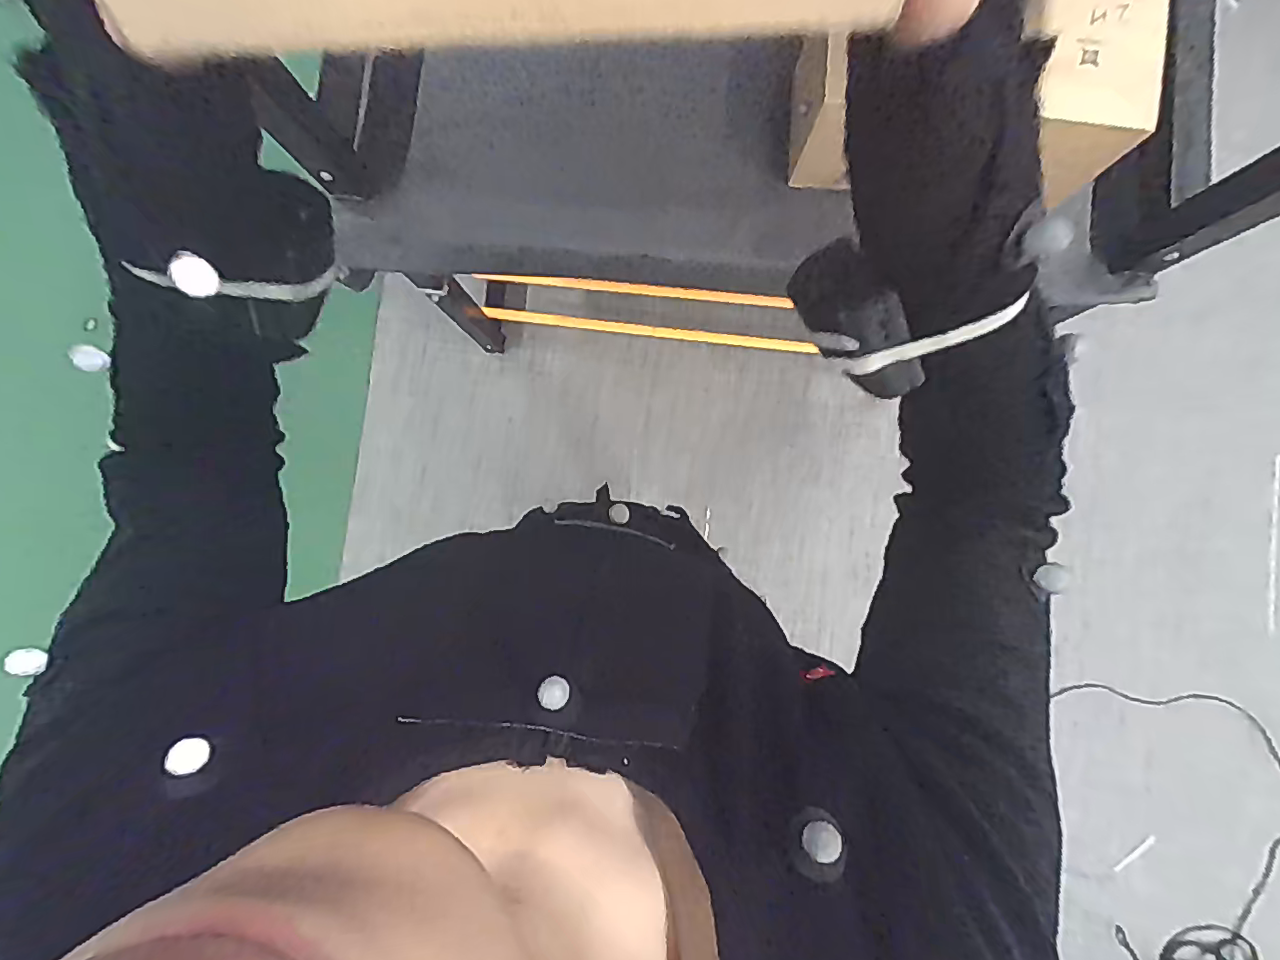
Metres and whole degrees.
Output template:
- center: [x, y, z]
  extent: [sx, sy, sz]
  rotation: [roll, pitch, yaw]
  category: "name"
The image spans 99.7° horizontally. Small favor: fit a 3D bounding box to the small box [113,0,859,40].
- center: [-0.032, -0.214, 0.097]
  extent: [0.168, 0.179, 0.176]
  rotation: [0, 52, 3]
  category: "small box"
